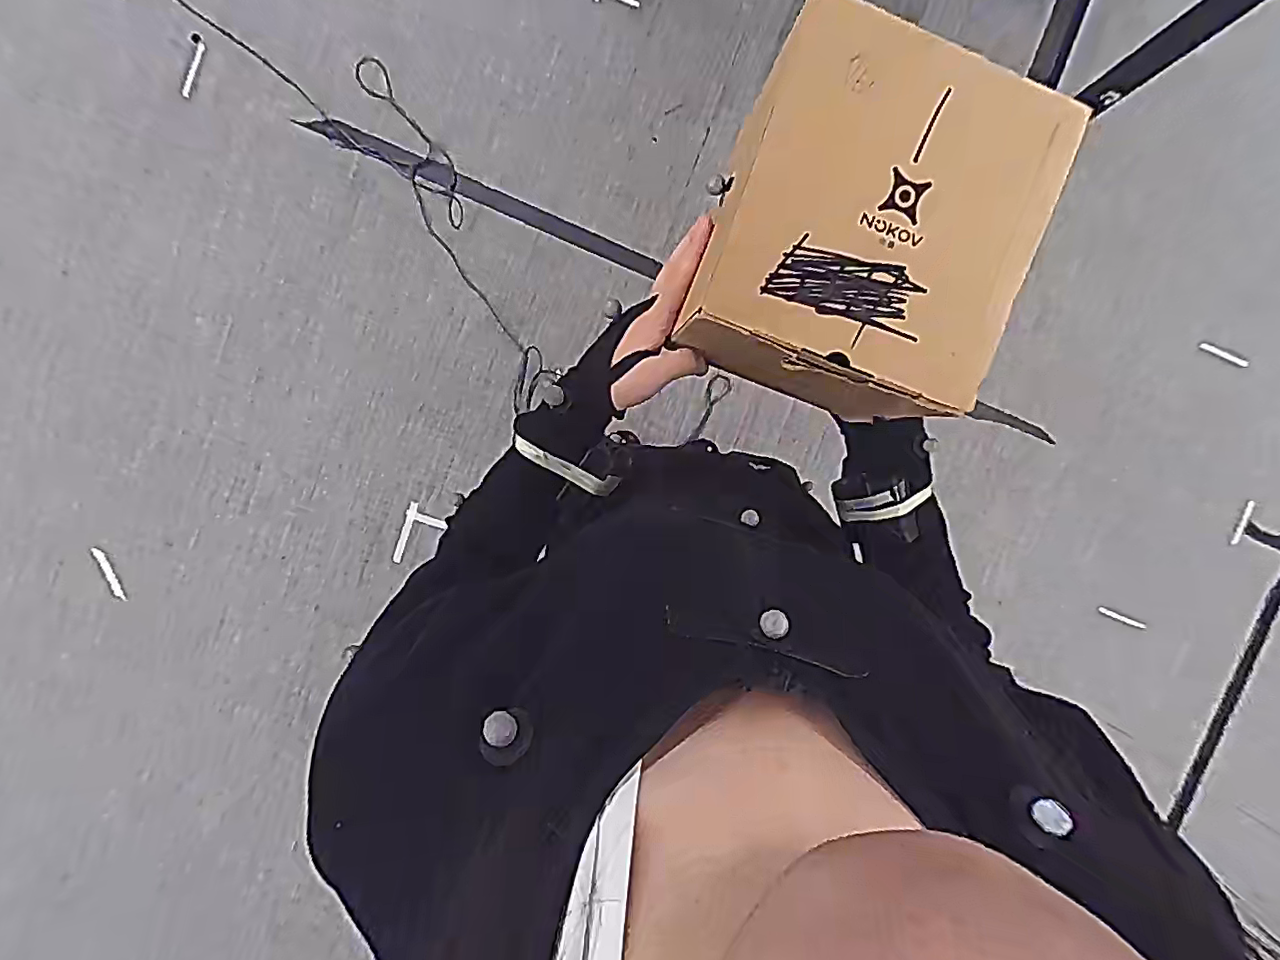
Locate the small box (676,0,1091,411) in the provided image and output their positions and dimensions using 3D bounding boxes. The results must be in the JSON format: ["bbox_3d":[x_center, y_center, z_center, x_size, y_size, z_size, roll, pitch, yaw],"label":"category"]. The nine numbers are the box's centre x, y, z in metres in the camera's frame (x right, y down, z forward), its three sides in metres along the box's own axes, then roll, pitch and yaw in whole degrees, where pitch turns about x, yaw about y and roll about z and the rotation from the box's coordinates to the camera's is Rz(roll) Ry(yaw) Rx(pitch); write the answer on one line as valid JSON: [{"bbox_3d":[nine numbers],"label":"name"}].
[{"bbox_3d":[0.131,-0.156,0.367,0.168,0.176,0.179,19,95,-7],"label":"small box"}]
